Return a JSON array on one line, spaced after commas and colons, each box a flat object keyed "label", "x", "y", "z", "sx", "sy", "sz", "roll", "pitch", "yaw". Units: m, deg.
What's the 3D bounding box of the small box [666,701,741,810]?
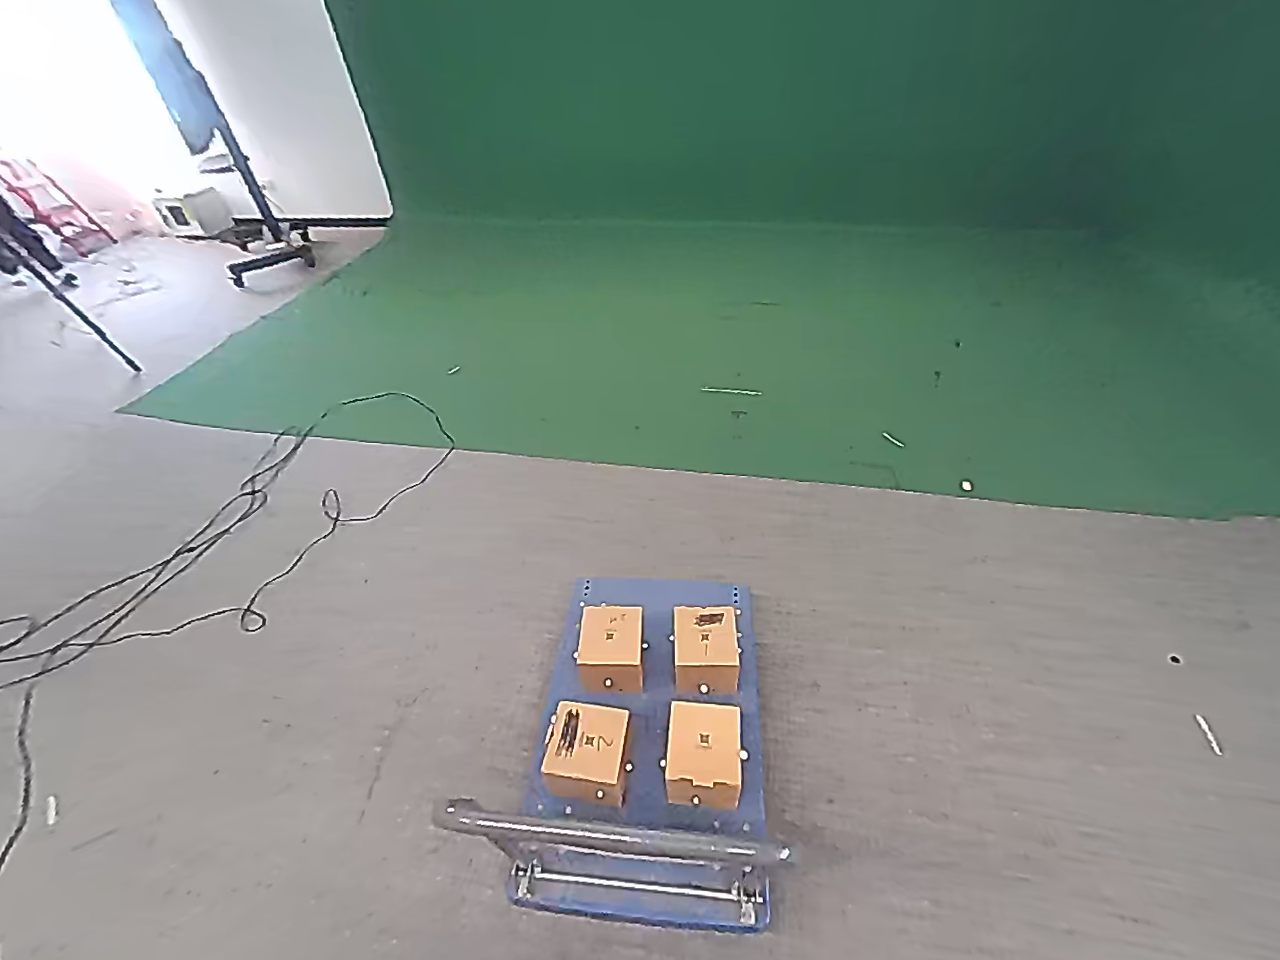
[{"label": "small box", "x": 0.151, "y": 0.656, "z": 1.288, "sx": 0.168, "sy": 0.176, "sz": 0.179, "roll": 3, "pitch": 44, "yaw": 7}]

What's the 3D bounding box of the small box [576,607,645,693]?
[{"label": "small box", "x": -0.074, "y": 0.472, "z": 1.497, "sx": 0.168, "sy": 0.176, "sz": 0.179, "roll": 0, "pitch": 44, "yaw": 4}]

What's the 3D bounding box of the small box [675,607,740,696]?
[{"label": "small box", "x": 0.179, "y": 0.468, "z": 1.481, "sx": 0.168, "sy": 0.176, "sz": 0.179, "roll": -1, "pitch": 45, "yaw": 5}]
